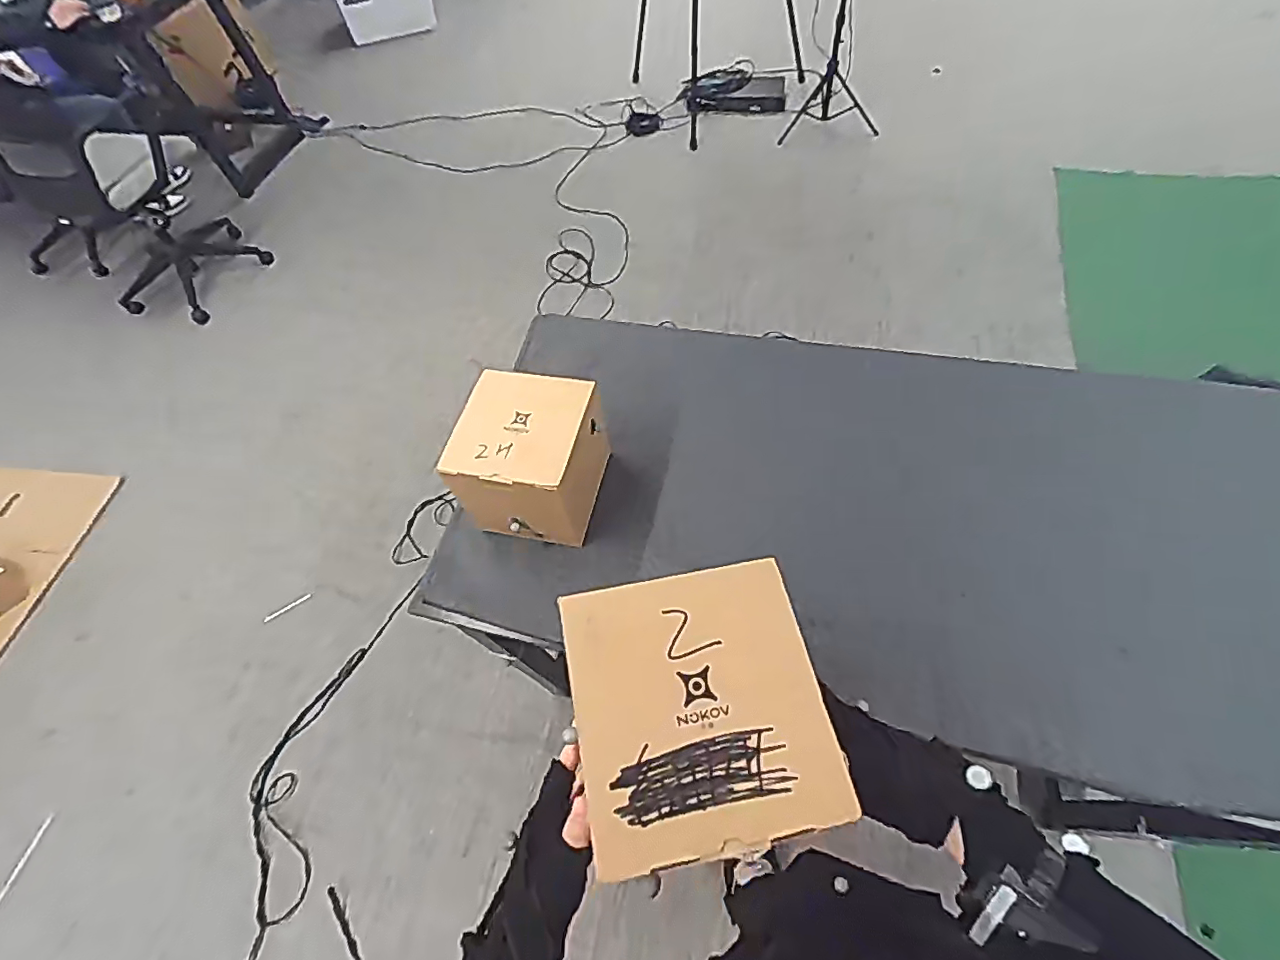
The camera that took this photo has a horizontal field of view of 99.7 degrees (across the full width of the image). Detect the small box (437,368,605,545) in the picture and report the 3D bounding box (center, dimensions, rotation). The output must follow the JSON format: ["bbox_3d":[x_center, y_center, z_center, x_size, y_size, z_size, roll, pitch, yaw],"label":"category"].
[{"bbox_3d":[-0.151,-0.031,0.768,0.168,0.176,0.179,9,59,10],"label":"small box"}]
